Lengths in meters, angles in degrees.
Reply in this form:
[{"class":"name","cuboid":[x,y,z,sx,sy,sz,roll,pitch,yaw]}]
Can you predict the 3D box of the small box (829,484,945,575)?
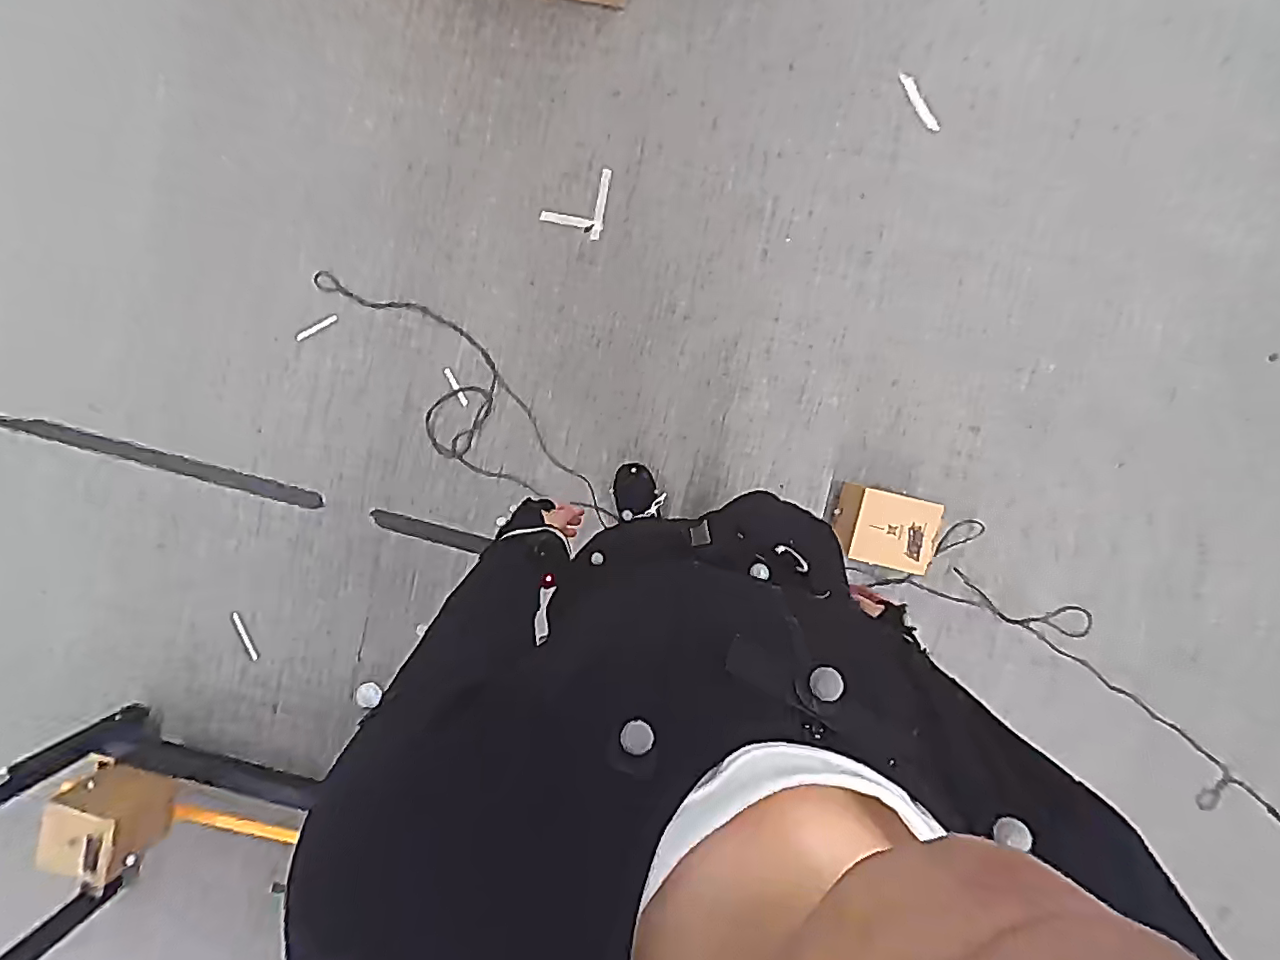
[{"class":"small box","cuboid":[0.572,0.108,1.272,0.179,0.176,0.168,14,95,3]}]
